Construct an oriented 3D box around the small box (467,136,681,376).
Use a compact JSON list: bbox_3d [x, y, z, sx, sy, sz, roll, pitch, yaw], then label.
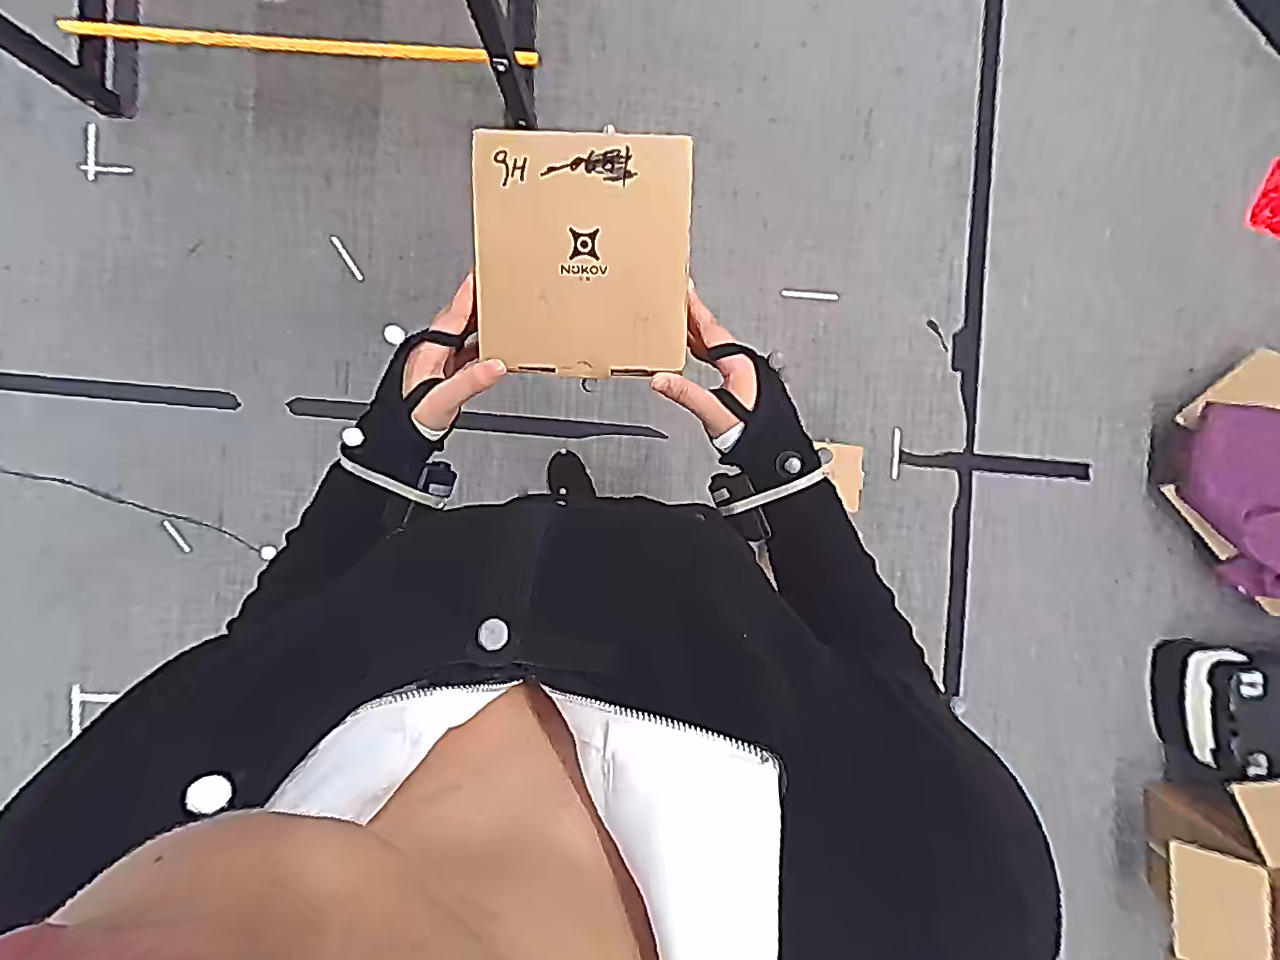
[{"bbox_3d":[-0.052,-0.190,0.503,0.168,0.176,0.179,1,102,-1],"label":"small box"}]
